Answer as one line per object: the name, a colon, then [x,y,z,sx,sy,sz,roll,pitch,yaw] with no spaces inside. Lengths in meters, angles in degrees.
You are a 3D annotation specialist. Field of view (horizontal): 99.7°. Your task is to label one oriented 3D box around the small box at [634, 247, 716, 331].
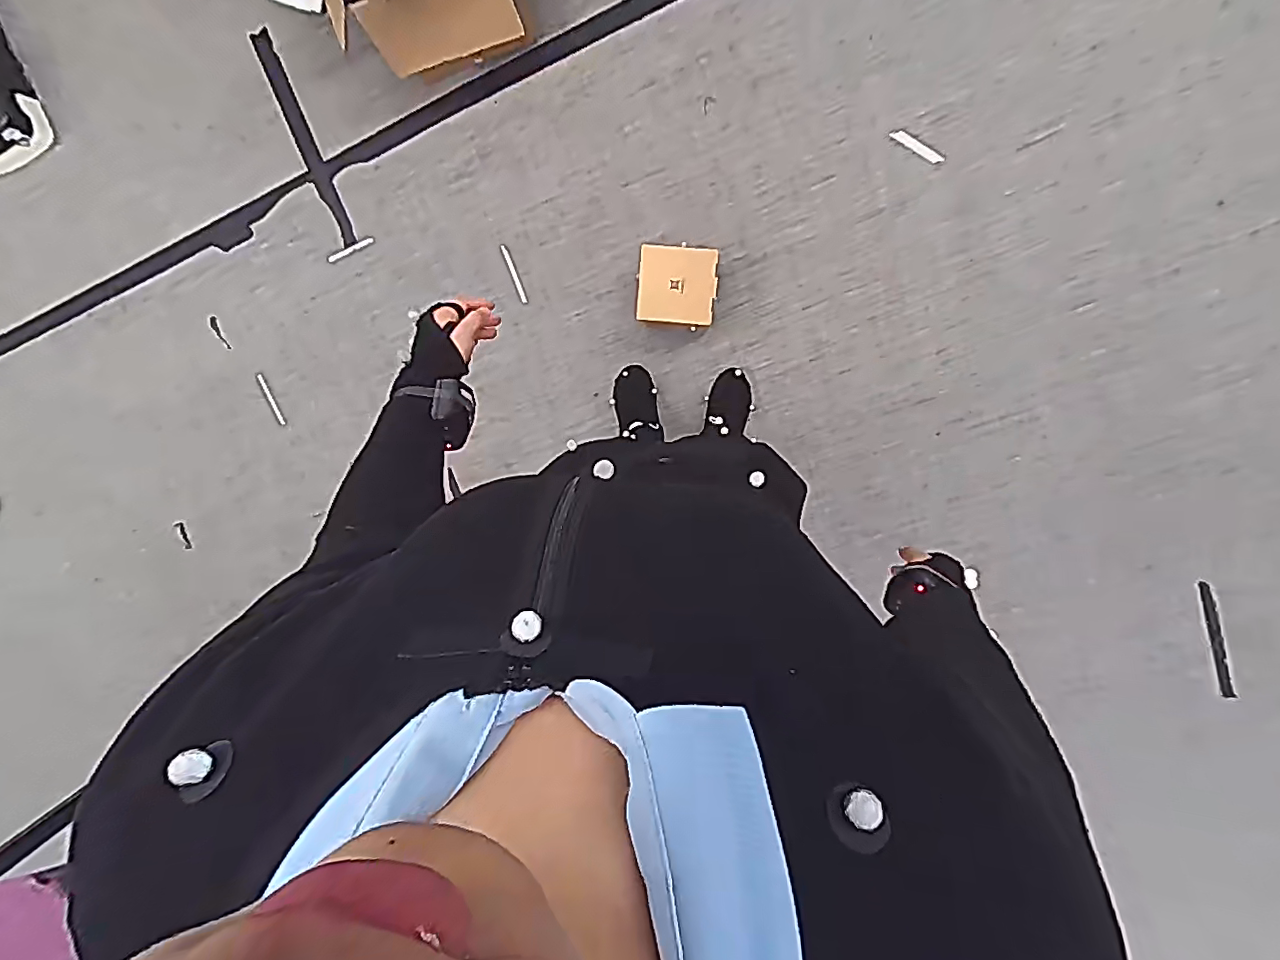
small box: [0.085,-0.454,1.306,0.179,0.176,0.168,5,103,4]
